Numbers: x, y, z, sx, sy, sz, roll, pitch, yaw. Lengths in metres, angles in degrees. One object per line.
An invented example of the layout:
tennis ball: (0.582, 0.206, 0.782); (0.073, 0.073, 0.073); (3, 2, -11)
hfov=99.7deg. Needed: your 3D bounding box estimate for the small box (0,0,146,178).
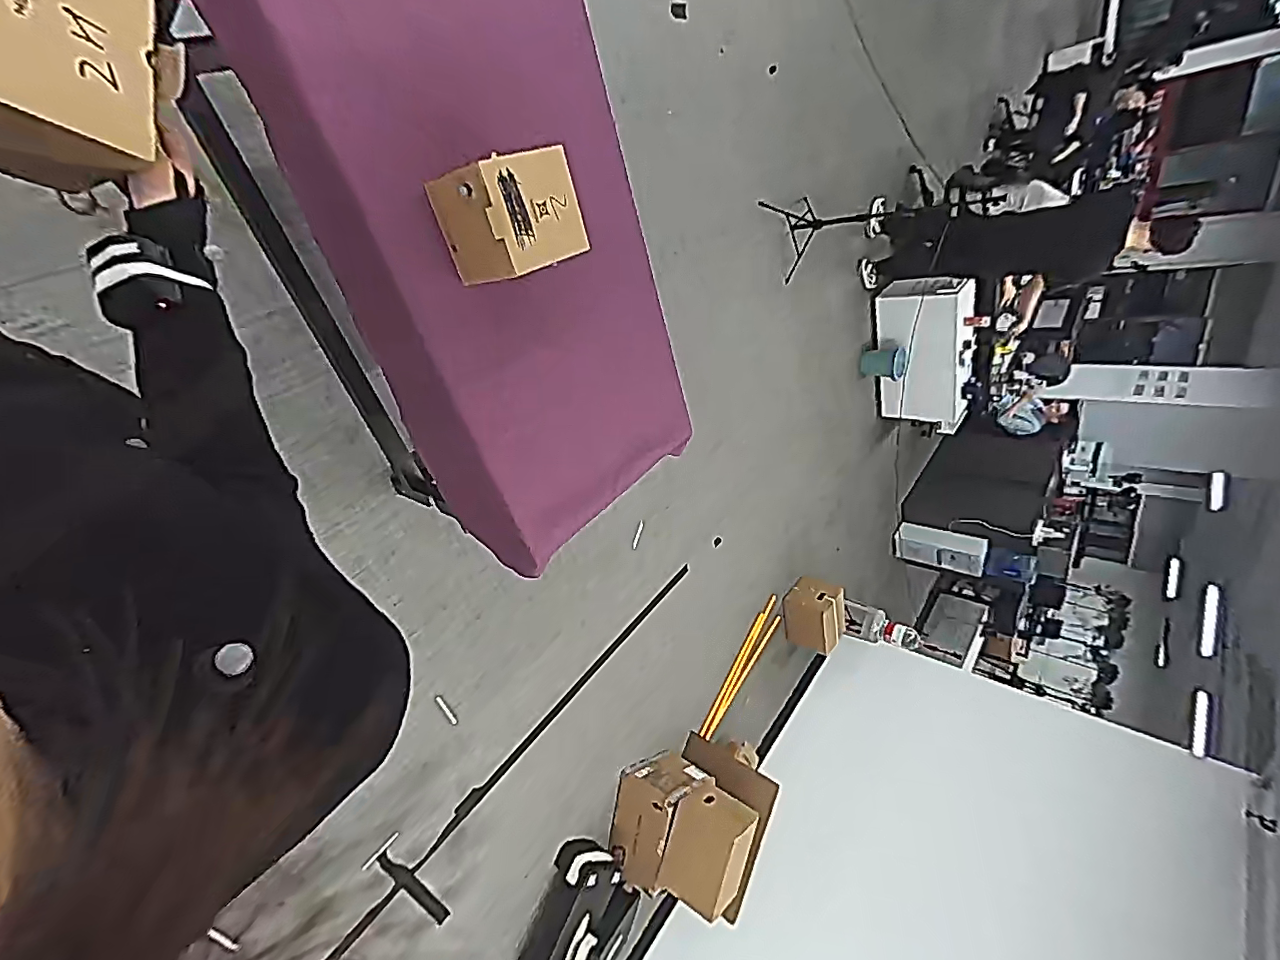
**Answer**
small box: (-0.512, -0.350, 0.399); (0.179, 0.176, 0.168); (-5, 100, -63)
